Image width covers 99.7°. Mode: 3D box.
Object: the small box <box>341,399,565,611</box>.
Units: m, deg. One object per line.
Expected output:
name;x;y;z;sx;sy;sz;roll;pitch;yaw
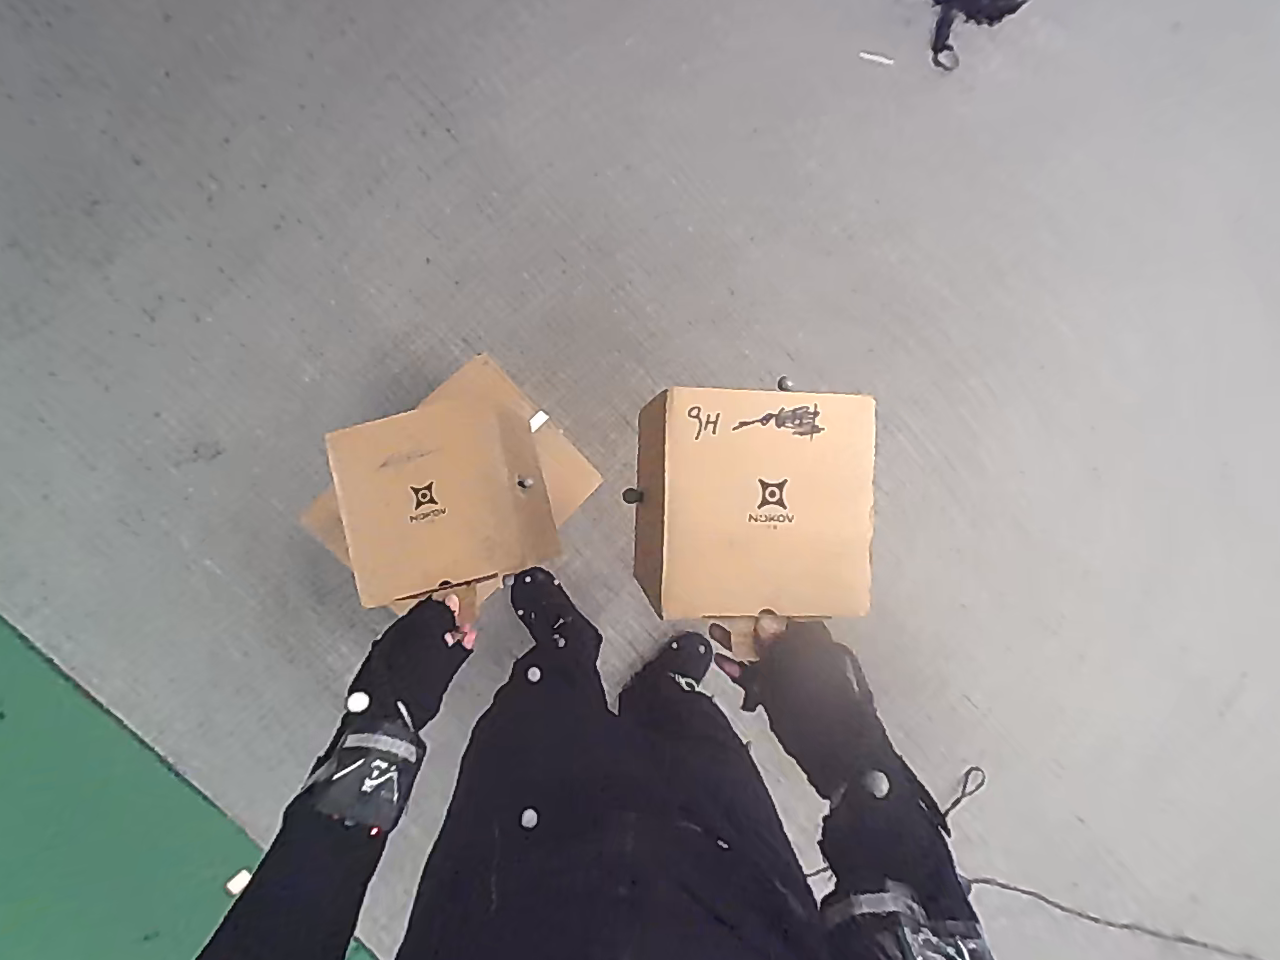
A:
small box;-0.190;0.029;0.596;0.168;0.176;0.179;-14;84;1

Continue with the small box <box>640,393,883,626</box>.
small box;0.094;0.022;0.495;0.168;0.176;0.179;2;92;-9
